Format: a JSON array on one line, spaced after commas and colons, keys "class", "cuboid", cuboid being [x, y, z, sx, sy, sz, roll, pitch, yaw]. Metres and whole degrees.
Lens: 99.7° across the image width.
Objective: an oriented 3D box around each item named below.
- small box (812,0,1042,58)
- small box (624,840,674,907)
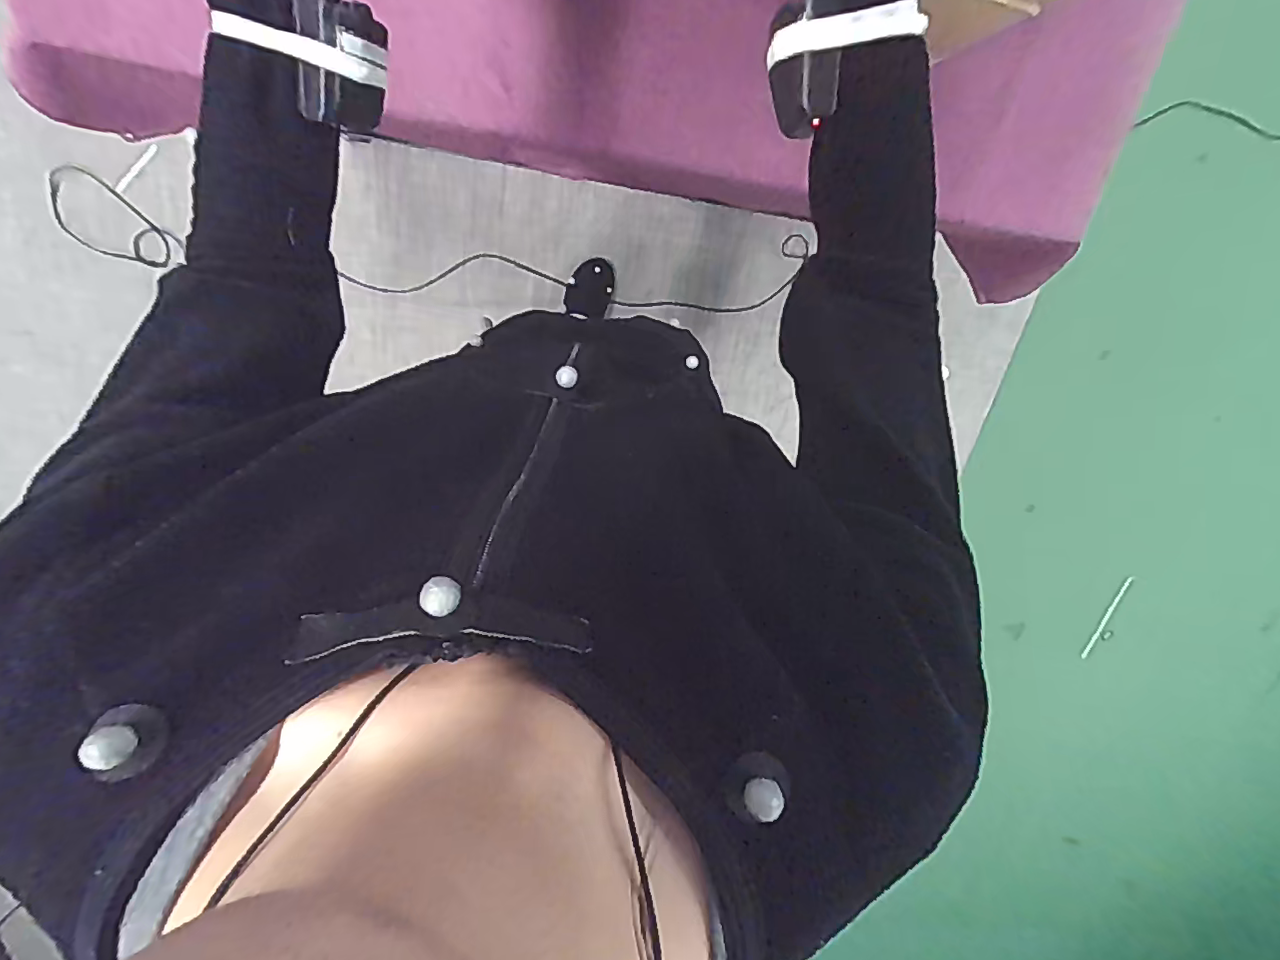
[{"class": "small box", "cuboid": [0.276, -0.526, 0.494, 0.168, 0.176, 0.179, 9, 112, -9]}, {"class": "small box", "cuboid": [0.031, 1.610, 2.220, 0.179, 0.176, 0.168, 5, 113, -8]}]
